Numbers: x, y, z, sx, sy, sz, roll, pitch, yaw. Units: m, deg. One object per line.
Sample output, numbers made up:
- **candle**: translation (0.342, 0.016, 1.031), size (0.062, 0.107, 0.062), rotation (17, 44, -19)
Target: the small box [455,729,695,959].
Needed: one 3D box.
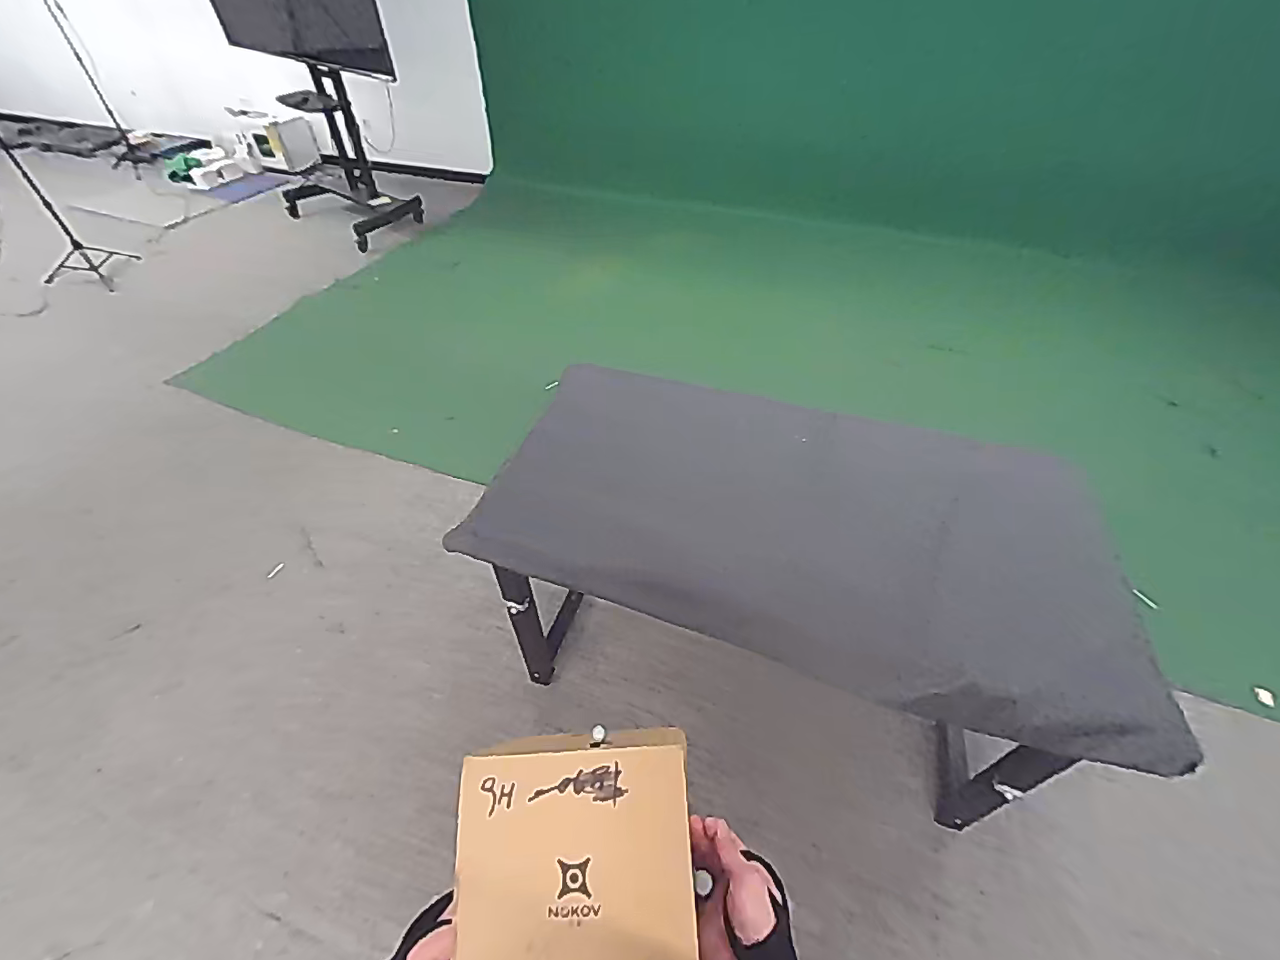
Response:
- **small box**: translation (-0.041, 0.316, 0.451), size (0.168, 0.176, 0.179), rotation (-4, 70, 2)
